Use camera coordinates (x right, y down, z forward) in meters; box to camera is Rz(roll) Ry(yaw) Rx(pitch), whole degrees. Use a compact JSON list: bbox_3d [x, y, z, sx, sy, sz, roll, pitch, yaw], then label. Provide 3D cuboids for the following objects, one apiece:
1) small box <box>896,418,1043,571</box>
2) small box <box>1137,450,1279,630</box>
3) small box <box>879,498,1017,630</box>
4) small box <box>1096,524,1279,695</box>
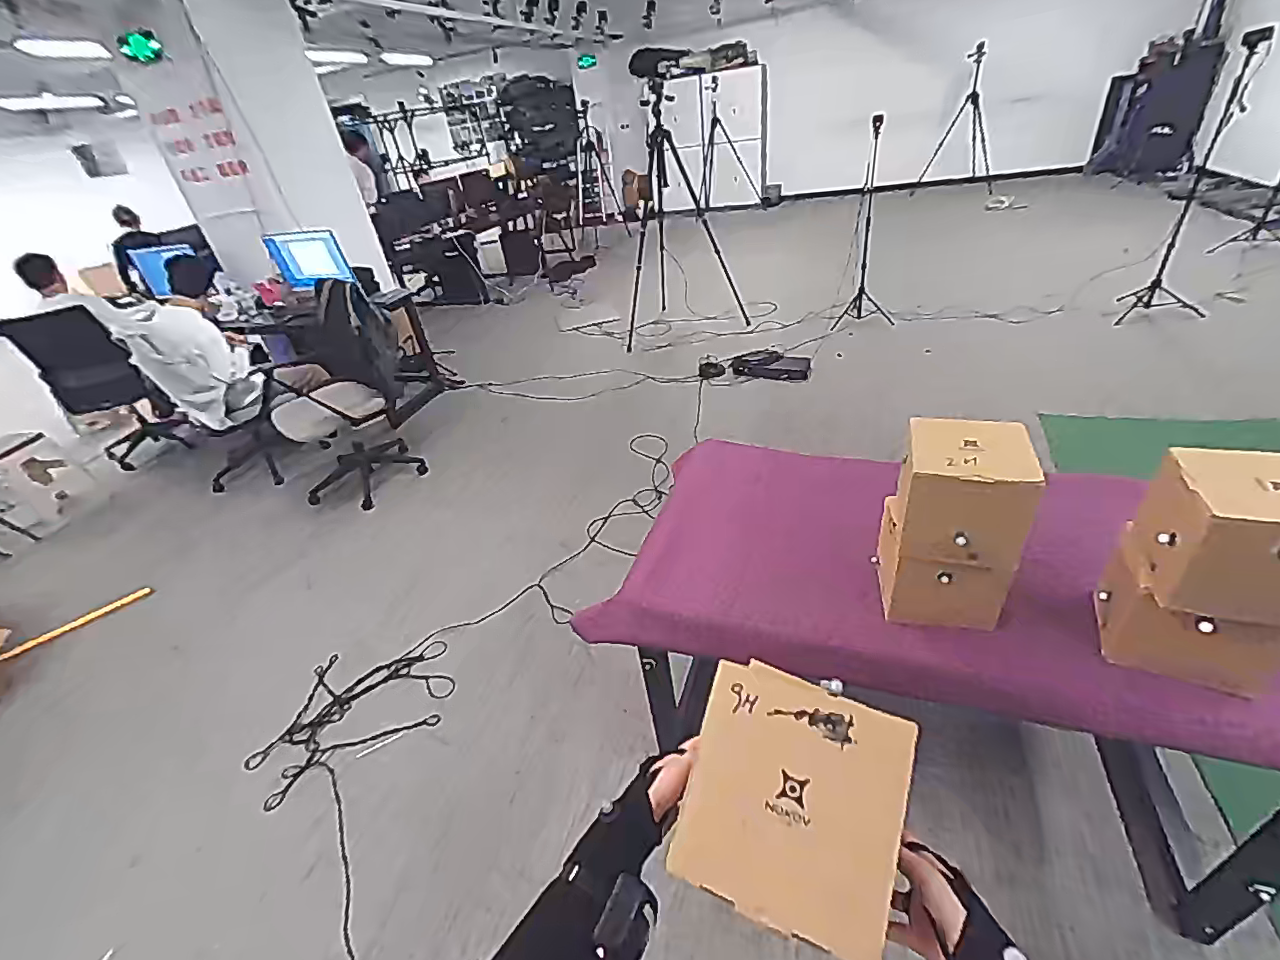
[{"bbox_3d":[0.512,0.018,0.869,0.168,0.176,0.179,6,37,21],"label":"small box"},{"bbox_3d":[0.803,0.077,0.714,0.179,0.176,0.168,7,37,24],"label":"small box"},{"bbox_3d":[0.533,0.148,0.968,0.179,0.176,0.168,2,35,15],"label":"small box"},{"bbox_3d":[0.838,0.195,0.825,0.179,0.176,0.168,10,38,29],"label":"small box"}]
